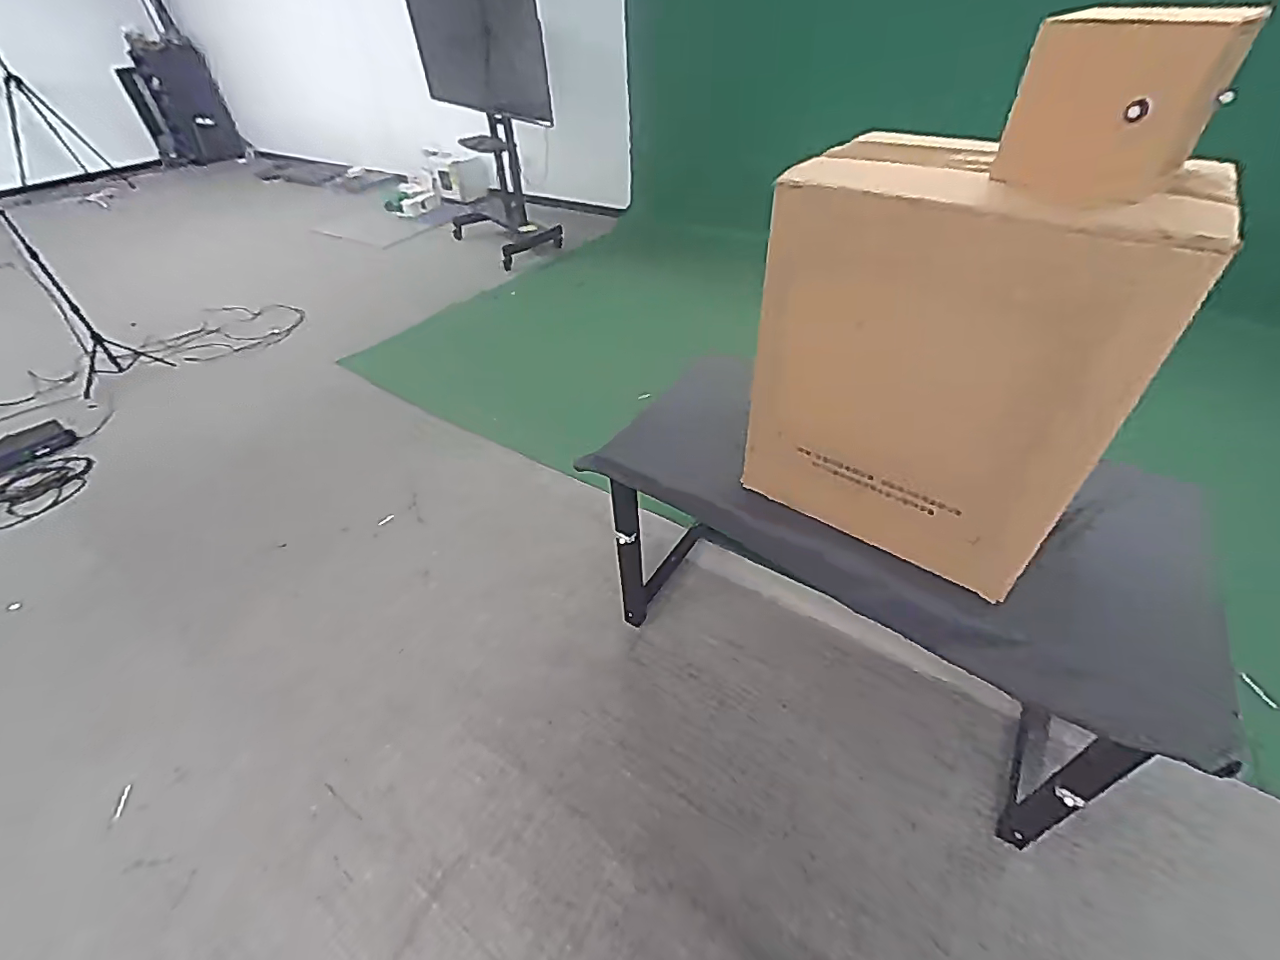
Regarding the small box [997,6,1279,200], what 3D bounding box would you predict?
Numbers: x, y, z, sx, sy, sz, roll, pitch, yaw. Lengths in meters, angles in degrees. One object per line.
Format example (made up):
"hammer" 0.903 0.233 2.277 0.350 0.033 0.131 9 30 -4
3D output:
"small box" 0.589 -0.459 0.662 0.168 0.176 0.179 -32 49 -26
